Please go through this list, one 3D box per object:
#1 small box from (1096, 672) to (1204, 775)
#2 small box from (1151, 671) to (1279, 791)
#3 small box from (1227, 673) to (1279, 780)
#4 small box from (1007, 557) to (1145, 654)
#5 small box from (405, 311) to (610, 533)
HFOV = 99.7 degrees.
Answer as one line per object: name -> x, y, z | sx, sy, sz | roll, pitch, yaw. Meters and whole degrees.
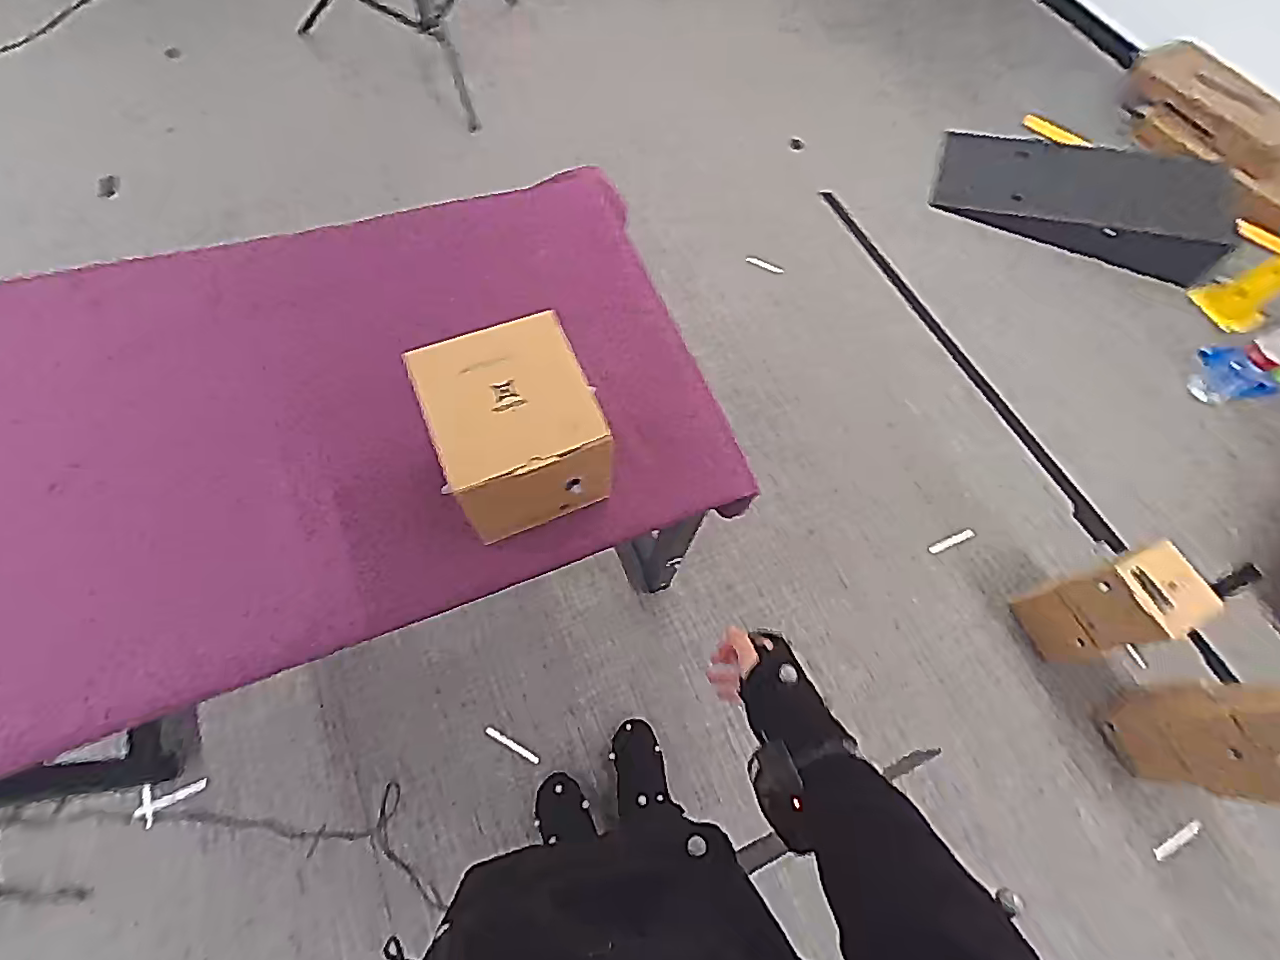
small box -> 1.237, 0.572, 1.274 | 0.179, 0.176, 0.168 | -22, 71, -14
small box -> 1.237, 0.517, 1.118 | 0.168, 0.176, 0.179 | -20, 71, -12
small box -> 1.248, 0.453, 0.967 | 0.168, 0.176, 0.179 | -17, 70, -12
small box -> 1.091, 0.324, 1.370 | 0.168, 0.176, 0.179 | -21, 70, -14
small box -> -0.143, -0.055, 0.625 | 0.168, 0.176, 0.179 | -22, 69, -15
